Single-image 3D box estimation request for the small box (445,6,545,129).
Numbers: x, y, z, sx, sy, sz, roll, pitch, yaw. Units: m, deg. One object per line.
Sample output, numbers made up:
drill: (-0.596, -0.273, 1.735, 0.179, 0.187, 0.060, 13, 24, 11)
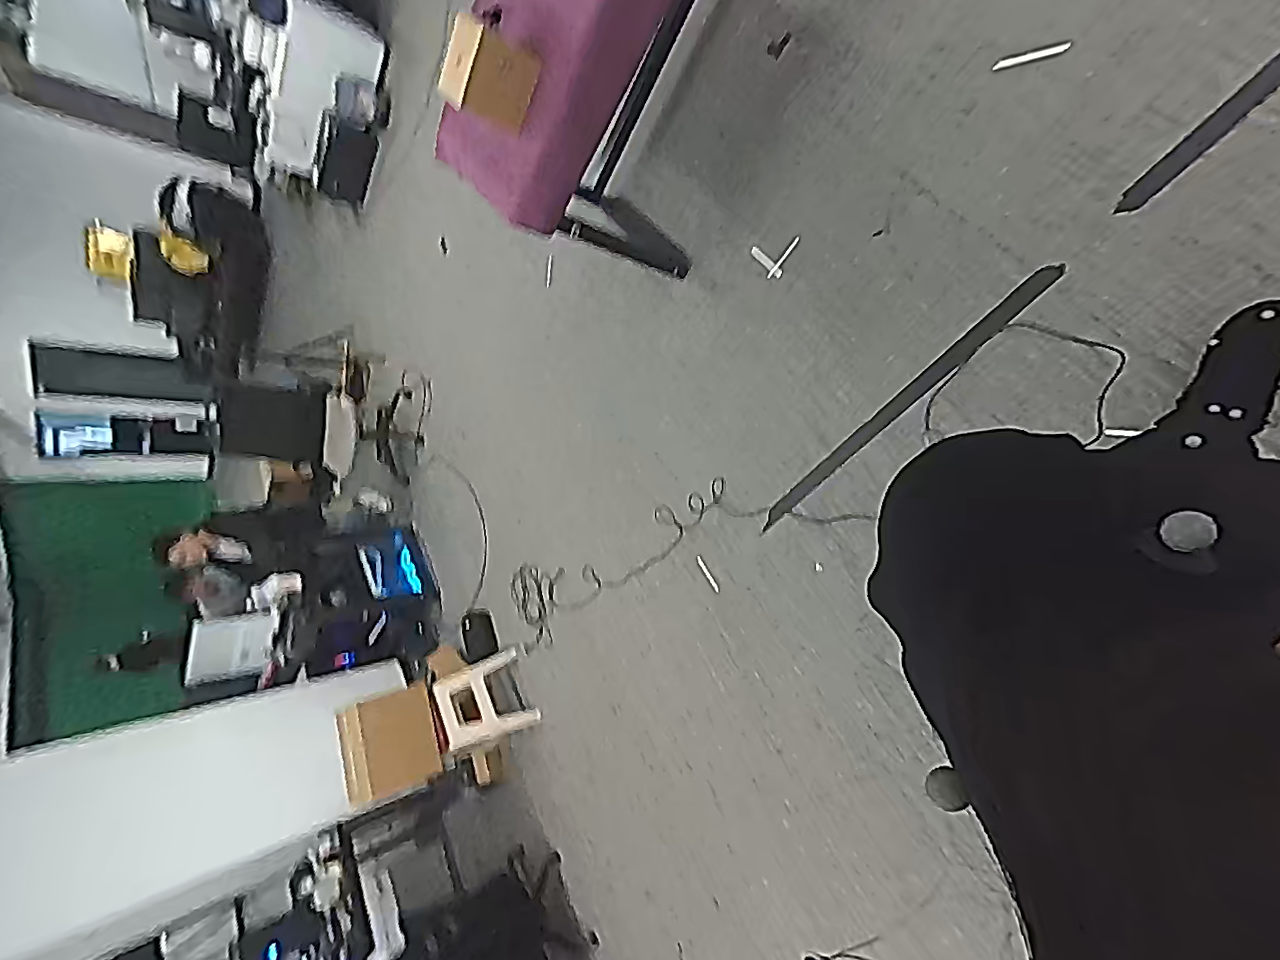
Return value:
small box: (-0.363, -1.036, 1.368, 0.168, 0.176, 0.179, 52, 125, 32)
